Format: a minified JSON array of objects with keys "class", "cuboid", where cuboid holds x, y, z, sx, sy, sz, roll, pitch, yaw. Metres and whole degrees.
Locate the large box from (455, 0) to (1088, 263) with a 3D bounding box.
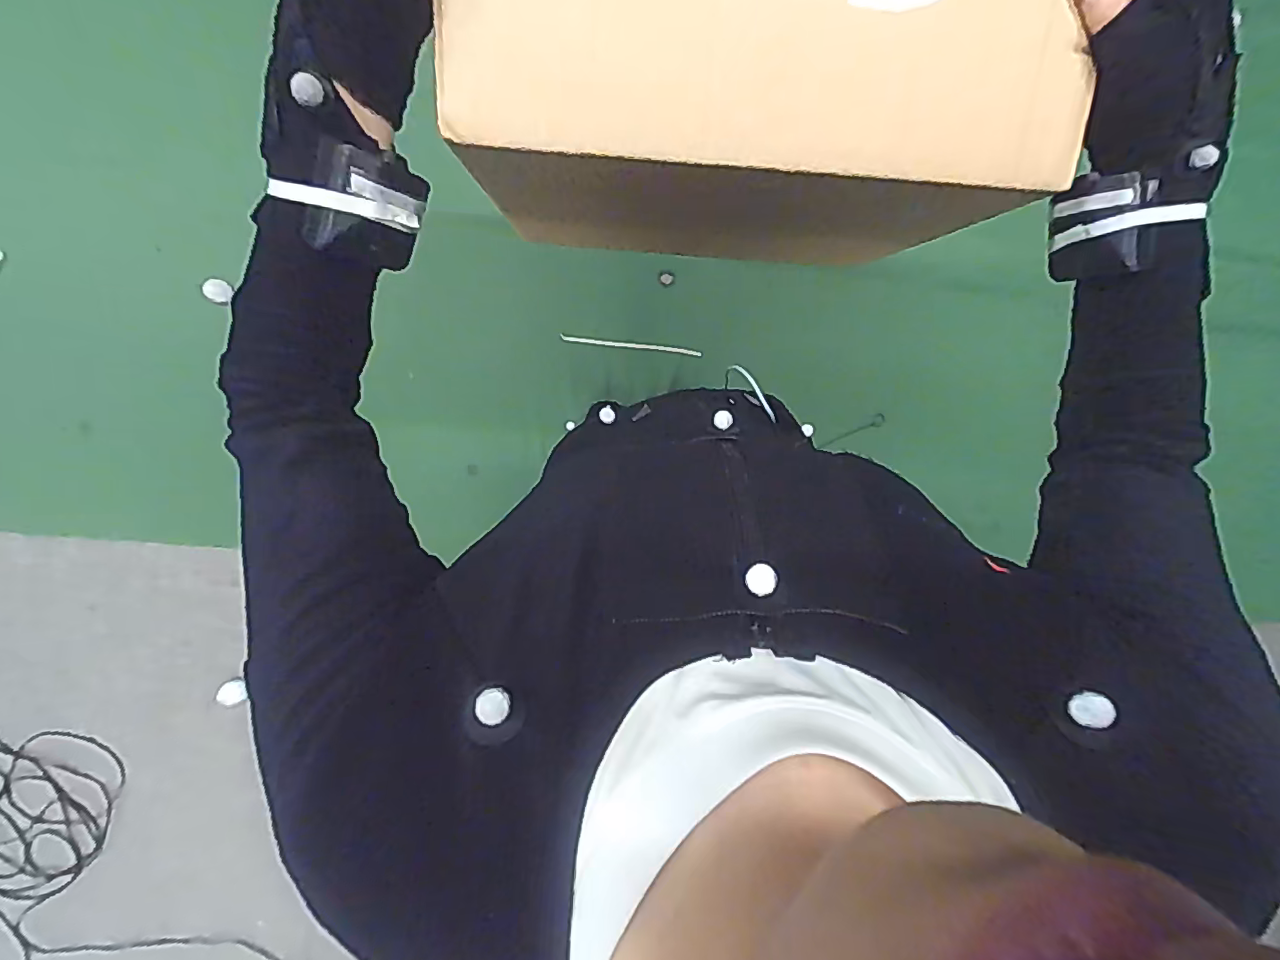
[{"class":"large box","cuboid":[0.079,-0.385,0.469,0.408,0.320,0.320,3,103,-3]}]
